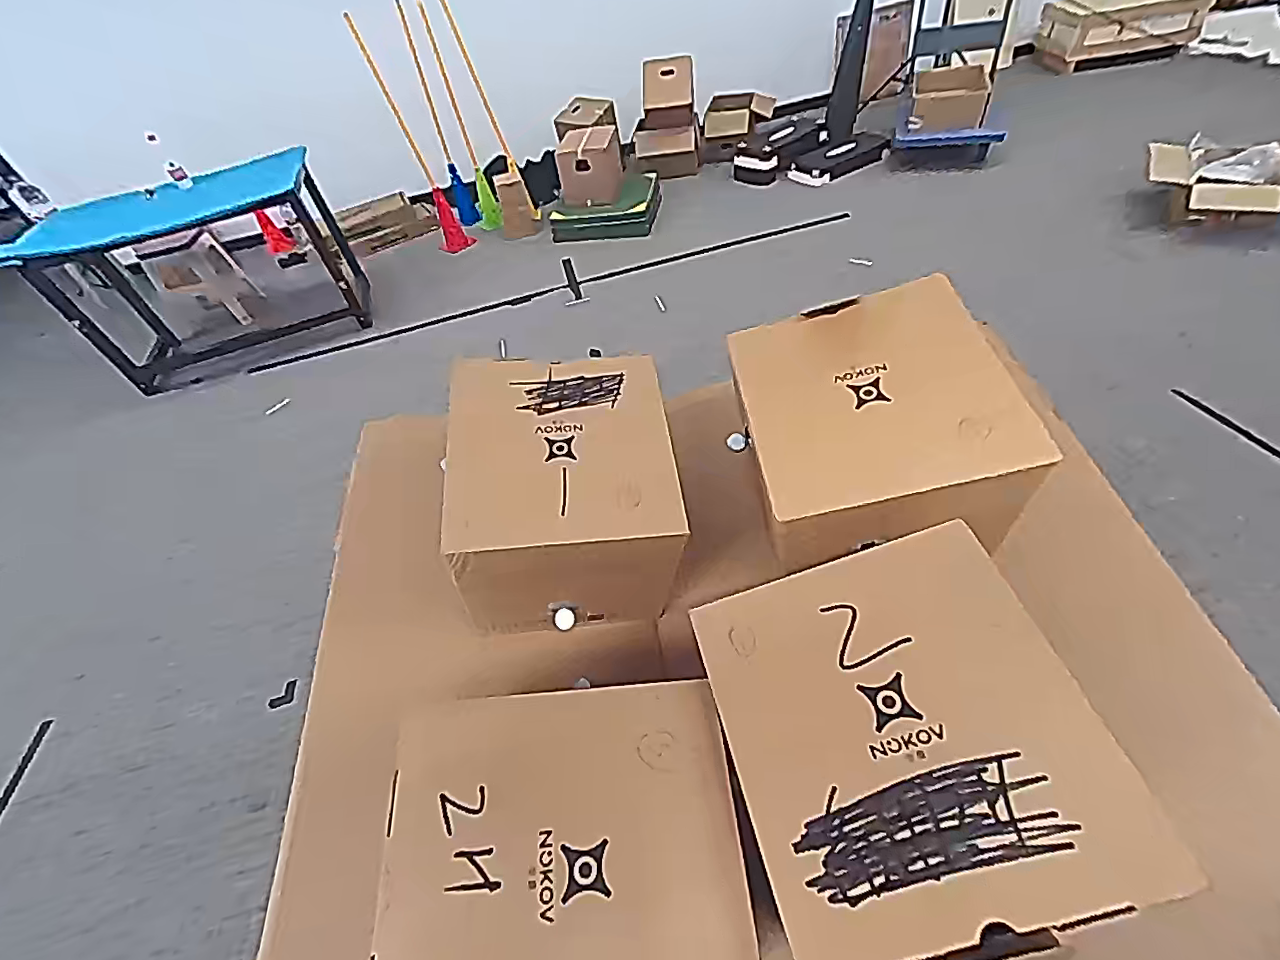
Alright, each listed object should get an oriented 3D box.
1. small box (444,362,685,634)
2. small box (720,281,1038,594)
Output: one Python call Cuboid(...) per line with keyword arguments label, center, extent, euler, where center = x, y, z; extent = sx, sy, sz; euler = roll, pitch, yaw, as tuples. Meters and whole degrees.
Cuboid(label="small box", center=(-0.066, 0.018, 0.477), extent=(0.168, 0.176, 0.179), euler=(-4, 57, -8))
Cuboid(label="small box", center=(0.173, -0.020, 0.441), extent=(0.168, 0.176, 0.179), euler=(-14, 54, 10))
